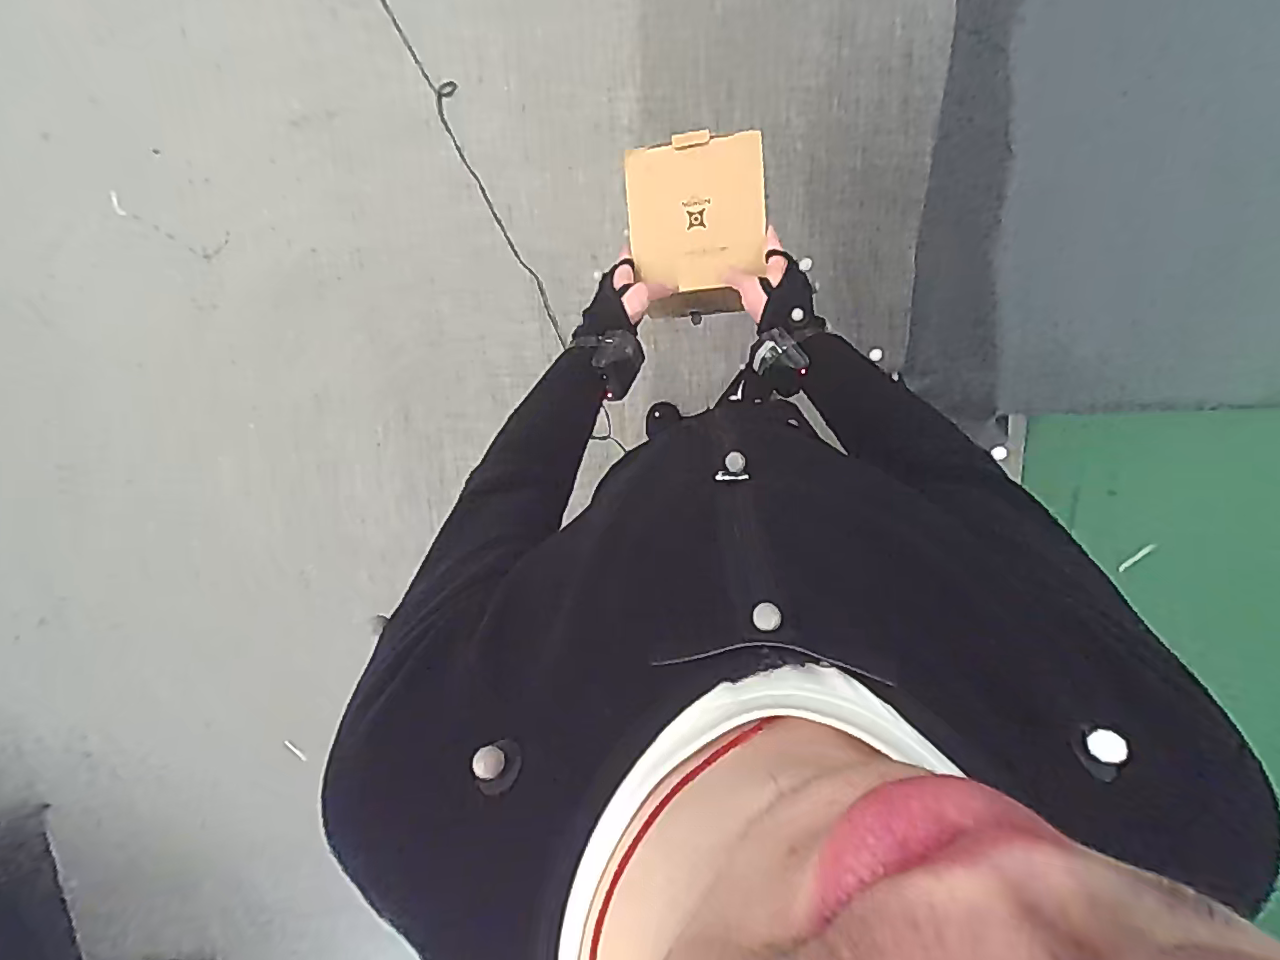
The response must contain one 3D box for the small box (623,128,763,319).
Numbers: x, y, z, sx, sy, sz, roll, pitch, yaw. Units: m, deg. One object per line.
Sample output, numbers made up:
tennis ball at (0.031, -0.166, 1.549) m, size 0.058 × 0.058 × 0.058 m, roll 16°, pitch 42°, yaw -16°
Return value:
small box at (0.074, -0.321, 0.712) m, size 0.168 × 0.176 × 0.179 m, roll -1°, pitch 96°, yaw 10°
